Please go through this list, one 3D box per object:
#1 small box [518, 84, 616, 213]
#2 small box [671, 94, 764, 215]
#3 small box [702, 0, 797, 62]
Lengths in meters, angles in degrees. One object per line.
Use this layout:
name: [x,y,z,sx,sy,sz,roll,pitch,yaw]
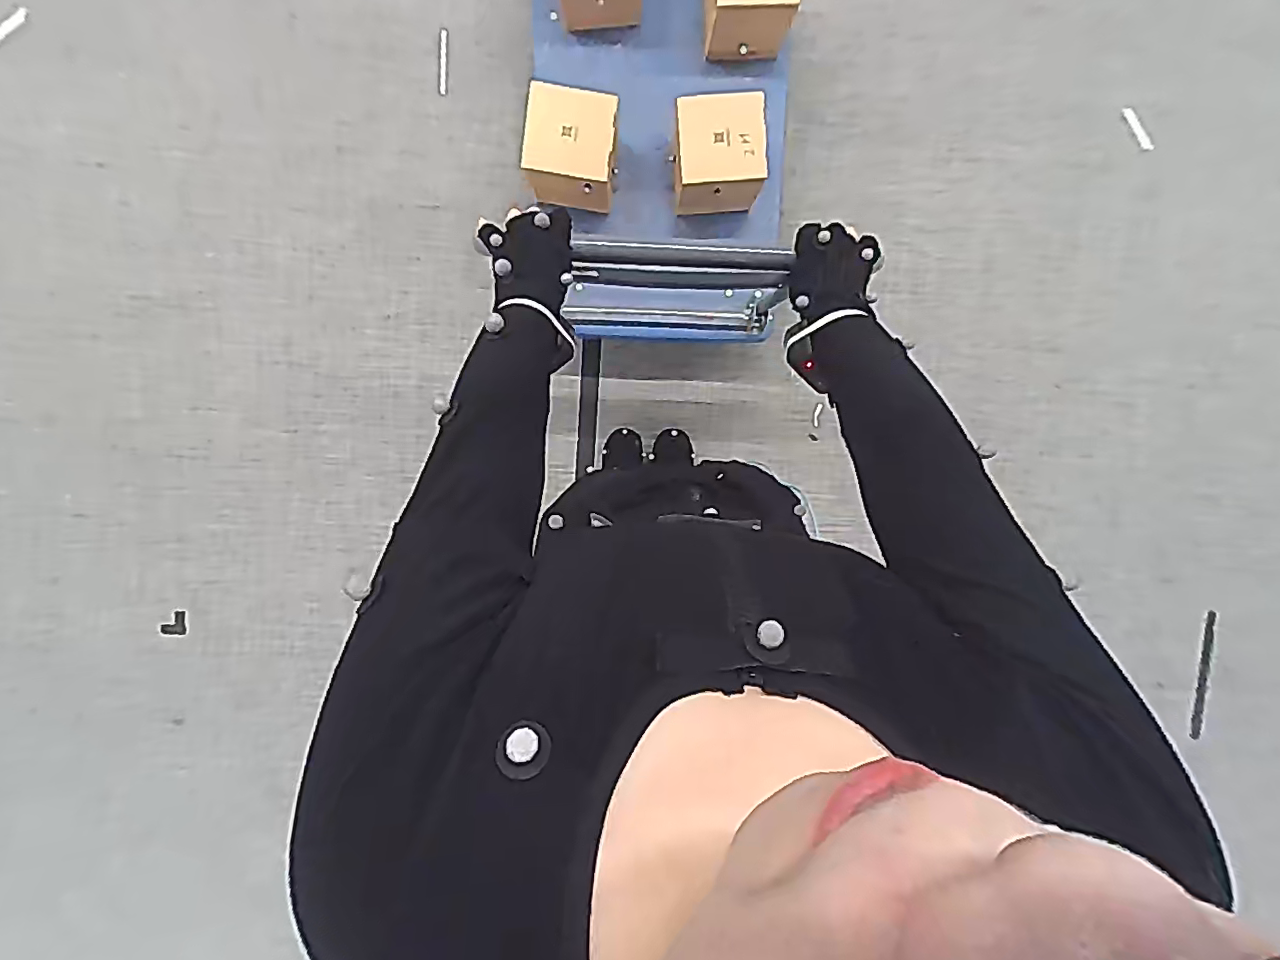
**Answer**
small box: [-0.147,-0.690,1.145,0.179,0.176,0.168,8,96,-3]
small box: [0.158,-0.681,1.150,0.179,0.176,0.168,-4,97,0]
small box: [0.219,-1.011,1.115,0.168,0.176,0.179,-2,97,-1]
